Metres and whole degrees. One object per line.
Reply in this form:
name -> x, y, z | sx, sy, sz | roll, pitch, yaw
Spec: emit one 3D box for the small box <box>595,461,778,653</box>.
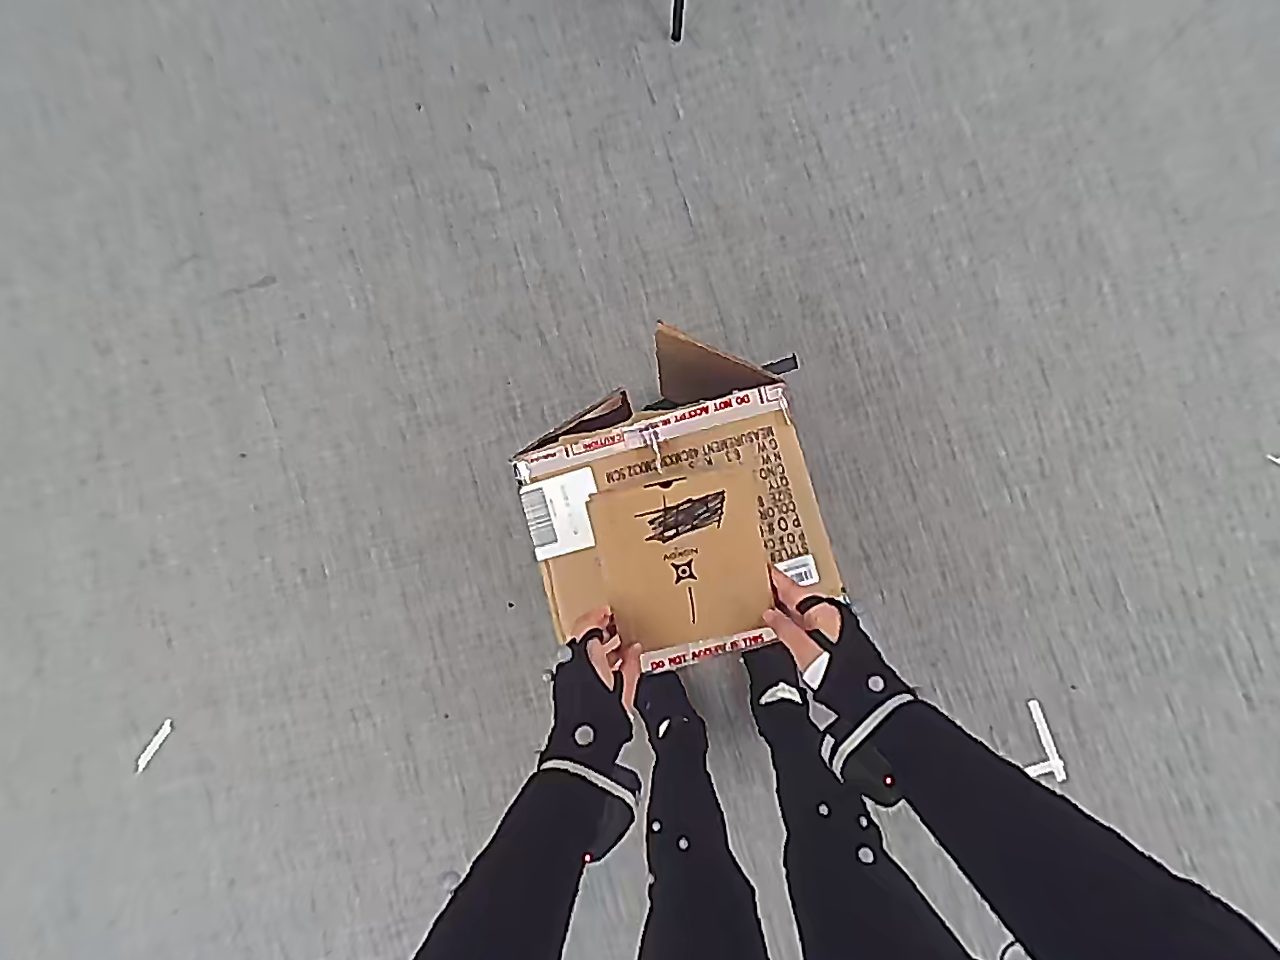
small box -> 0.050, 0.082, 0.644 | 0.168, 0.176, 0.179 | -13, 89, 3
